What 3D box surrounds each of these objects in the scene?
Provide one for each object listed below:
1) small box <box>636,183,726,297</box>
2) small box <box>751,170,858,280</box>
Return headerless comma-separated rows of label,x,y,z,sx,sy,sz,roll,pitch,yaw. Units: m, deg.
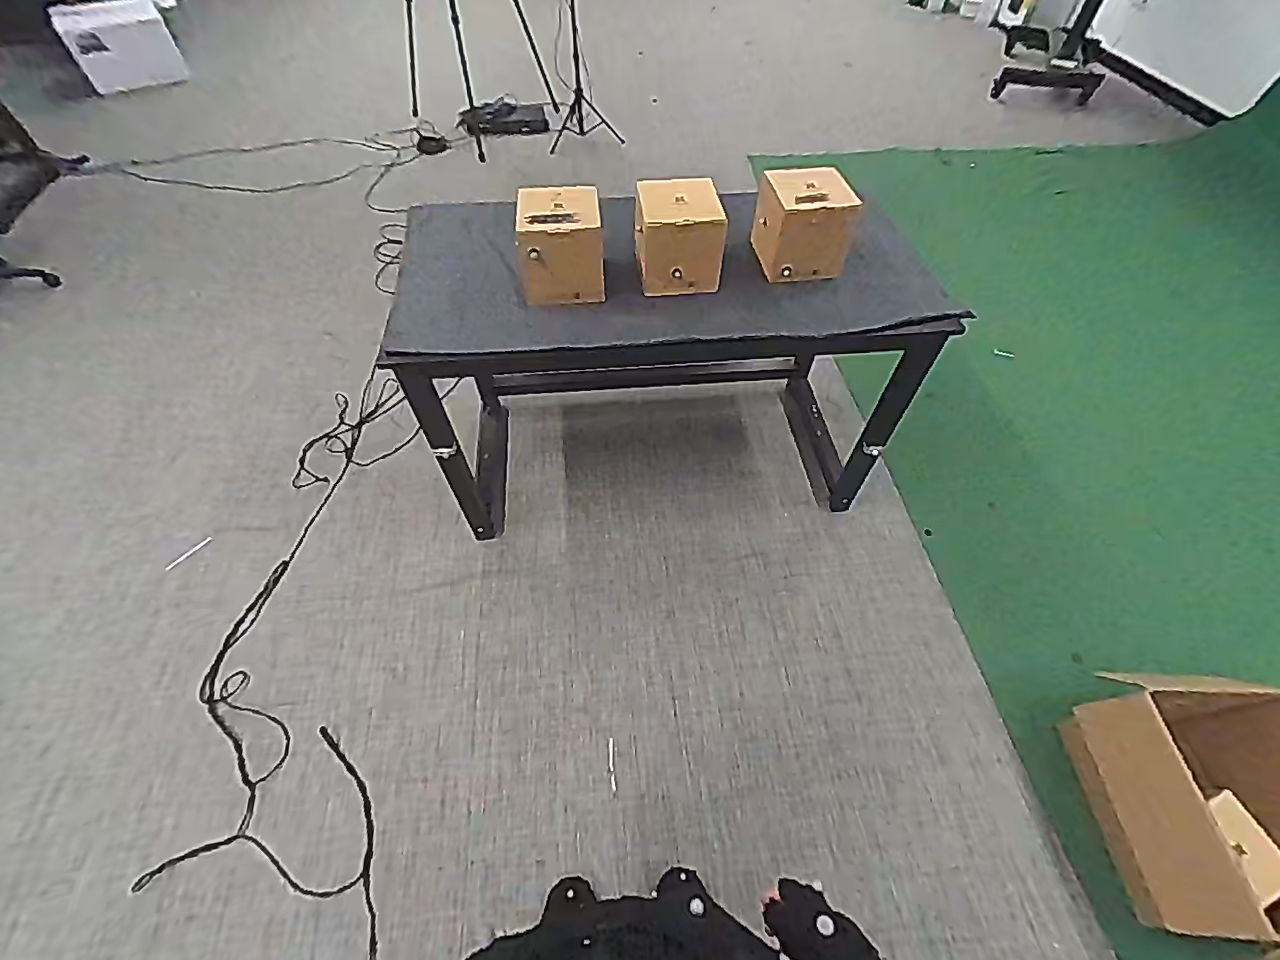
small box,0.081,-0.525,1.185,0.168,0.176,0.179,-5,55,-5
small box,0.360,-0.565,1.214,0.168,0.176,0.179,-6,53,-5
